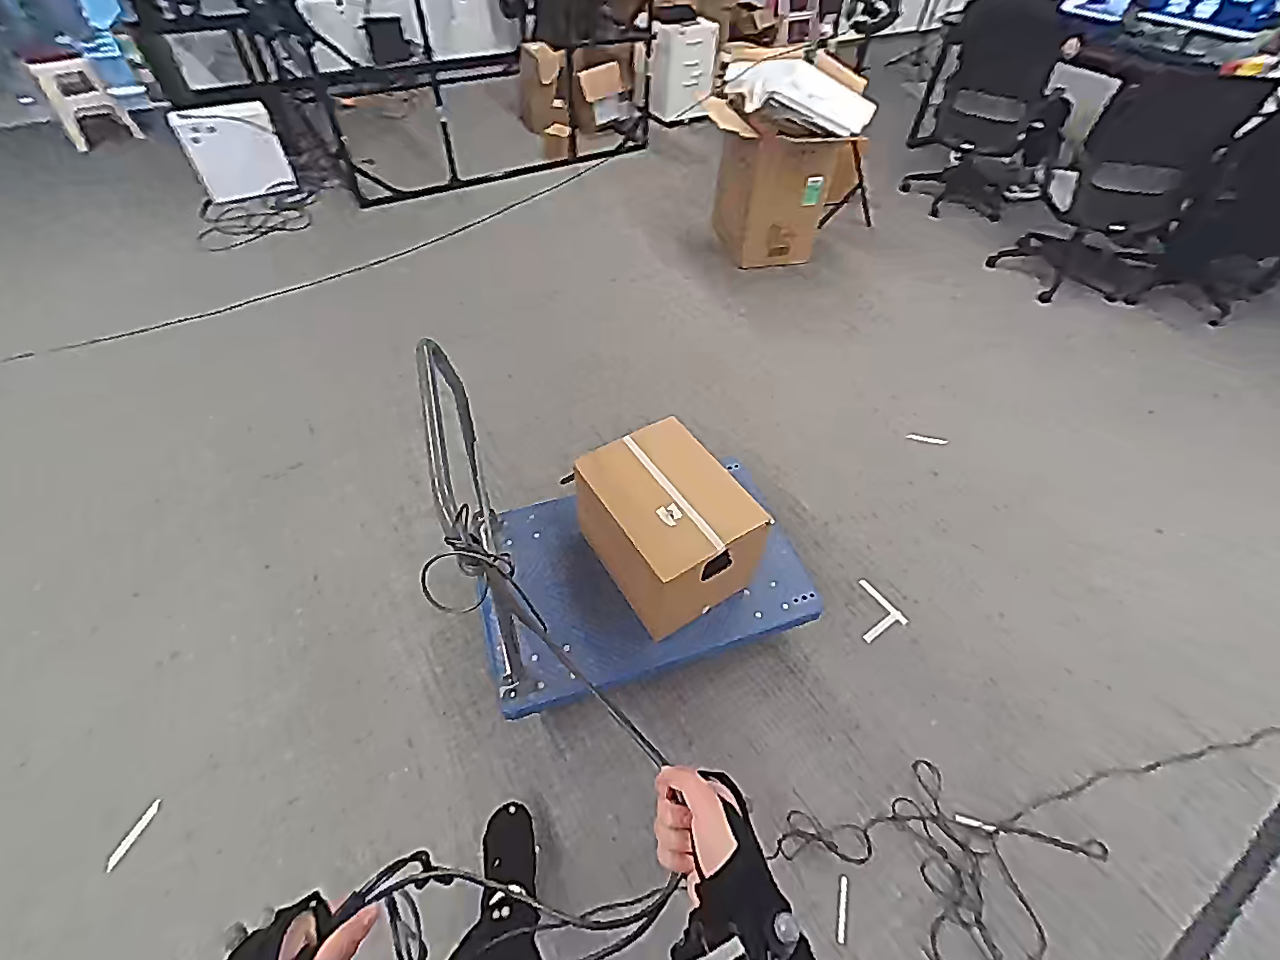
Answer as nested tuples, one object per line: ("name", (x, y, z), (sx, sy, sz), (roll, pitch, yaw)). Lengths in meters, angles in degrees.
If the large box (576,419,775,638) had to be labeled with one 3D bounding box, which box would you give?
("large box", (0.069, 0.119, 1.400), (0.320, 0.320, 0.408), (-27, 58, -21))
